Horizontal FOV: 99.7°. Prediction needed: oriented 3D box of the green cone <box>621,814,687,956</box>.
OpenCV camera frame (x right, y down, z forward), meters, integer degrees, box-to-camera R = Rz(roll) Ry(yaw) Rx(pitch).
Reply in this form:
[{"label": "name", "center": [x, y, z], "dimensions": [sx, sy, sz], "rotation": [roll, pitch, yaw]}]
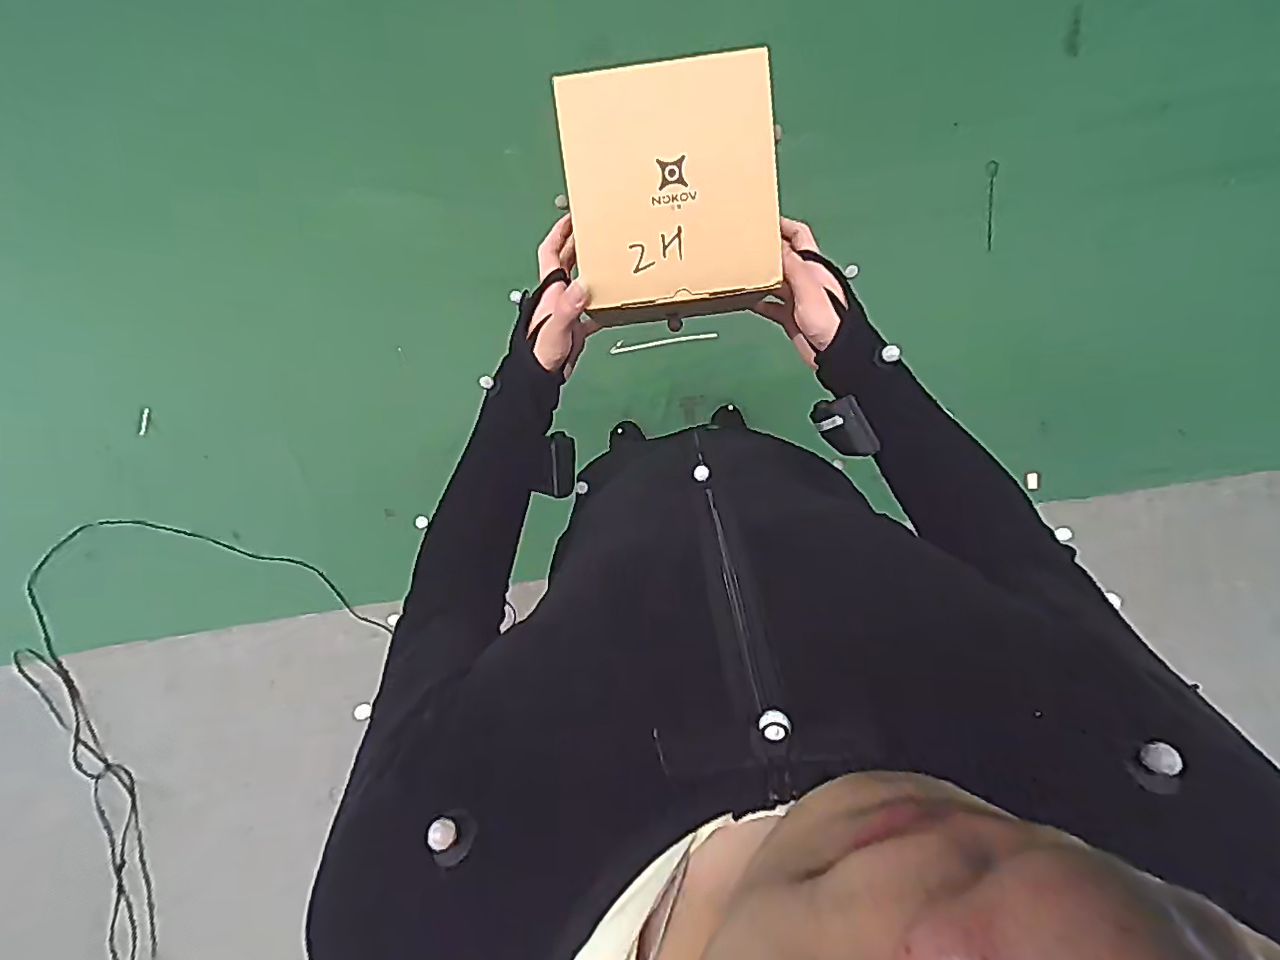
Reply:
[{"label": "green cone", "center": [0.039, 1.216, 1.605], "dimensions": [0.202, 0.368, 0.200], "rotation": [-9, 96, 3]}]
